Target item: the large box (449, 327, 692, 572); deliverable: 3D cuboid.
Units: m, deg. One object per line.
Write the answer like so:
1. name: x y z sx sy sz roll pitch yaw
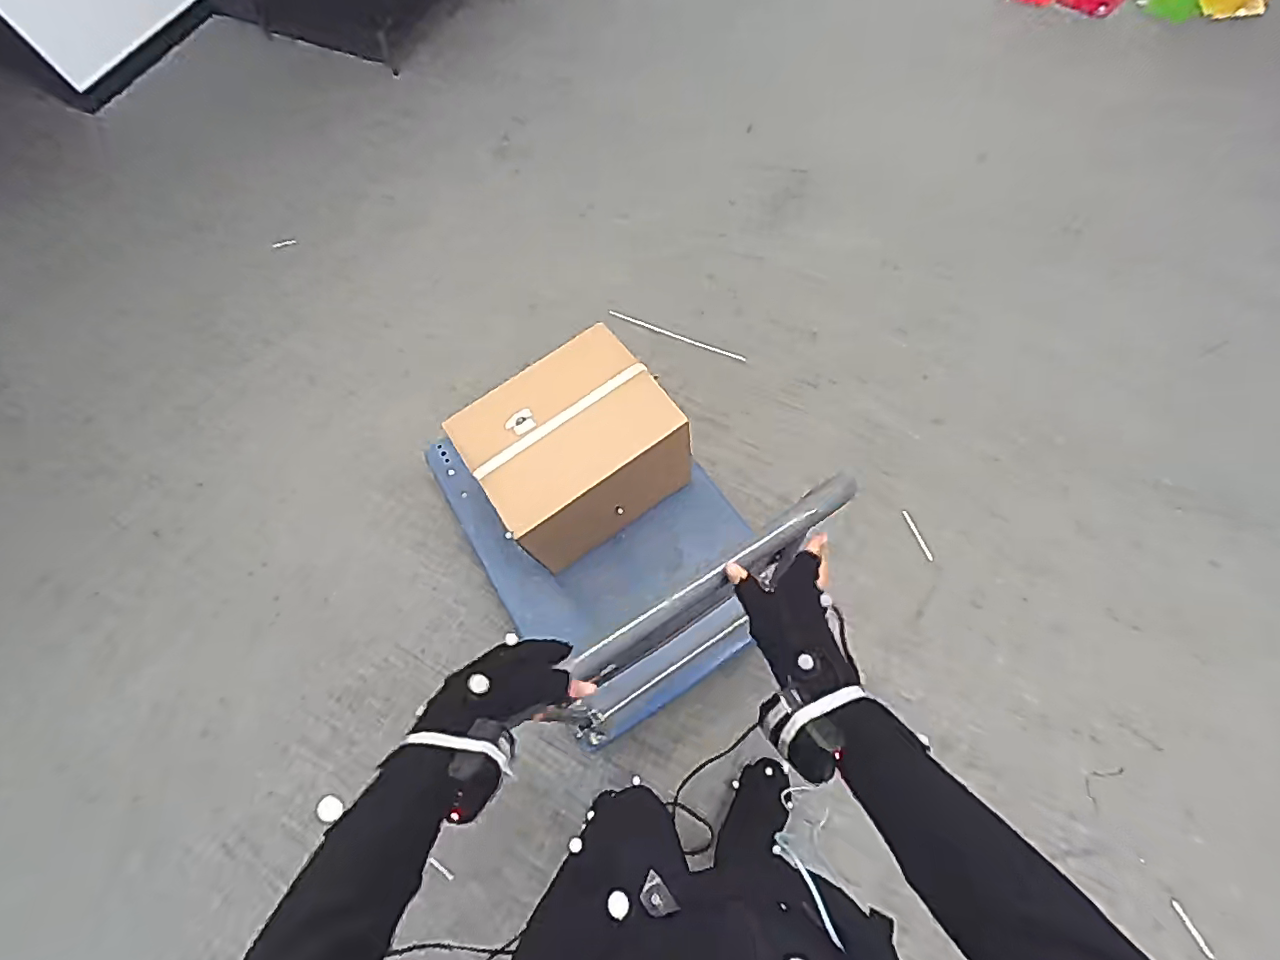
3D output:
1. large box: -0.132 -0.054 1.223 0.408 0.320 0.320 -36 67 -7
